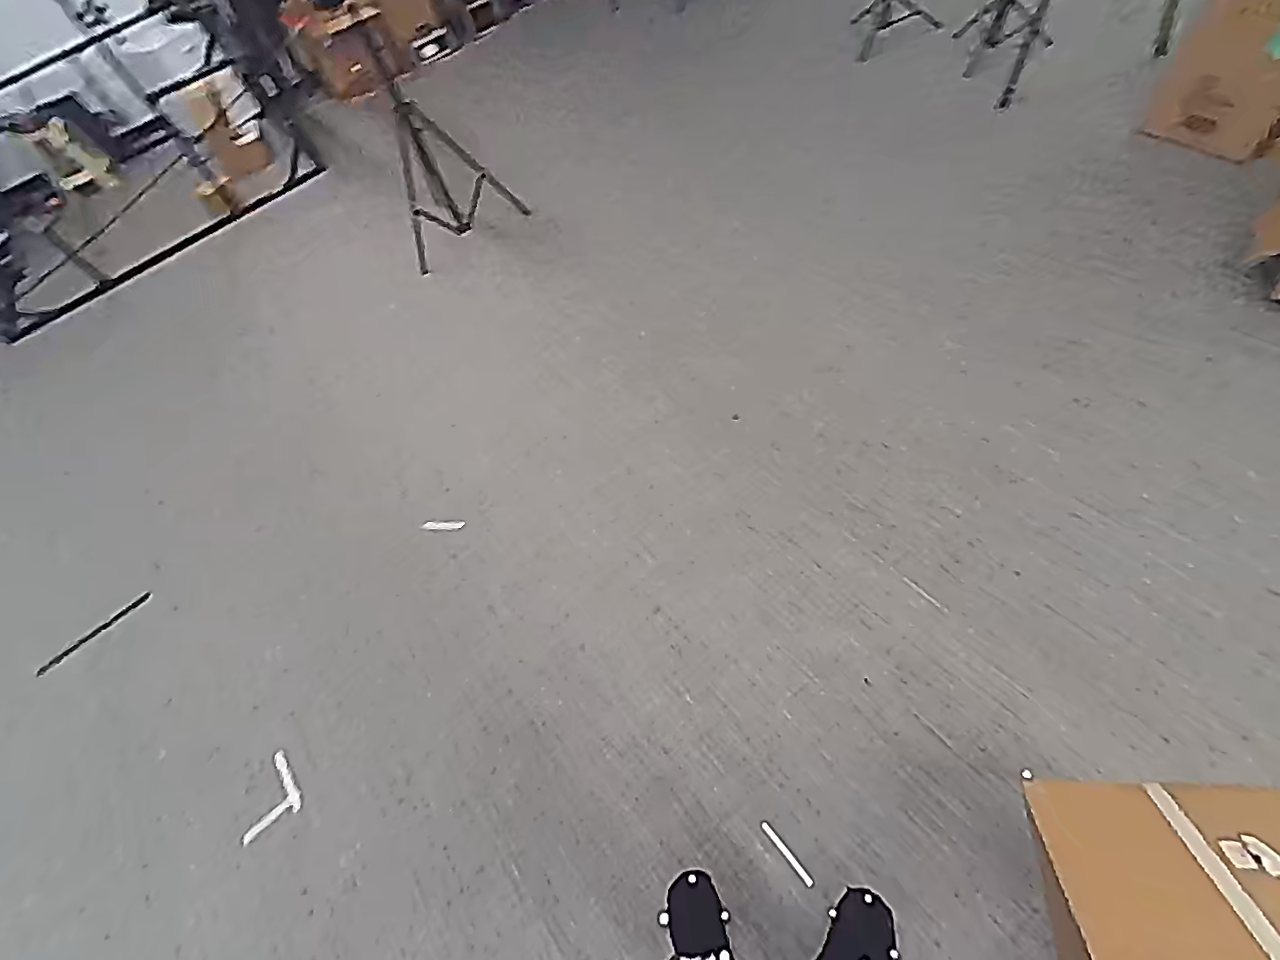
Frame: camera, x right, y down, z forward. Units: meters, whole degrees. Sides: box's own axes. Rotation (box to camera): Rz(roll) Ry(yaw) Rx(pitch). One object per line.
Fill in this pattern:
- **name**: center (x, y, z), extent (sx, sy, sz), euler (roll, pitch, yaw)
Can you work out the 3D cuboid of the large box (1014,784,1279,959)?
- **large box**: center (0.677, 0.610, 0.597), extent (0.320, 0.408, 0.320), euler (-11, 91, 22)
